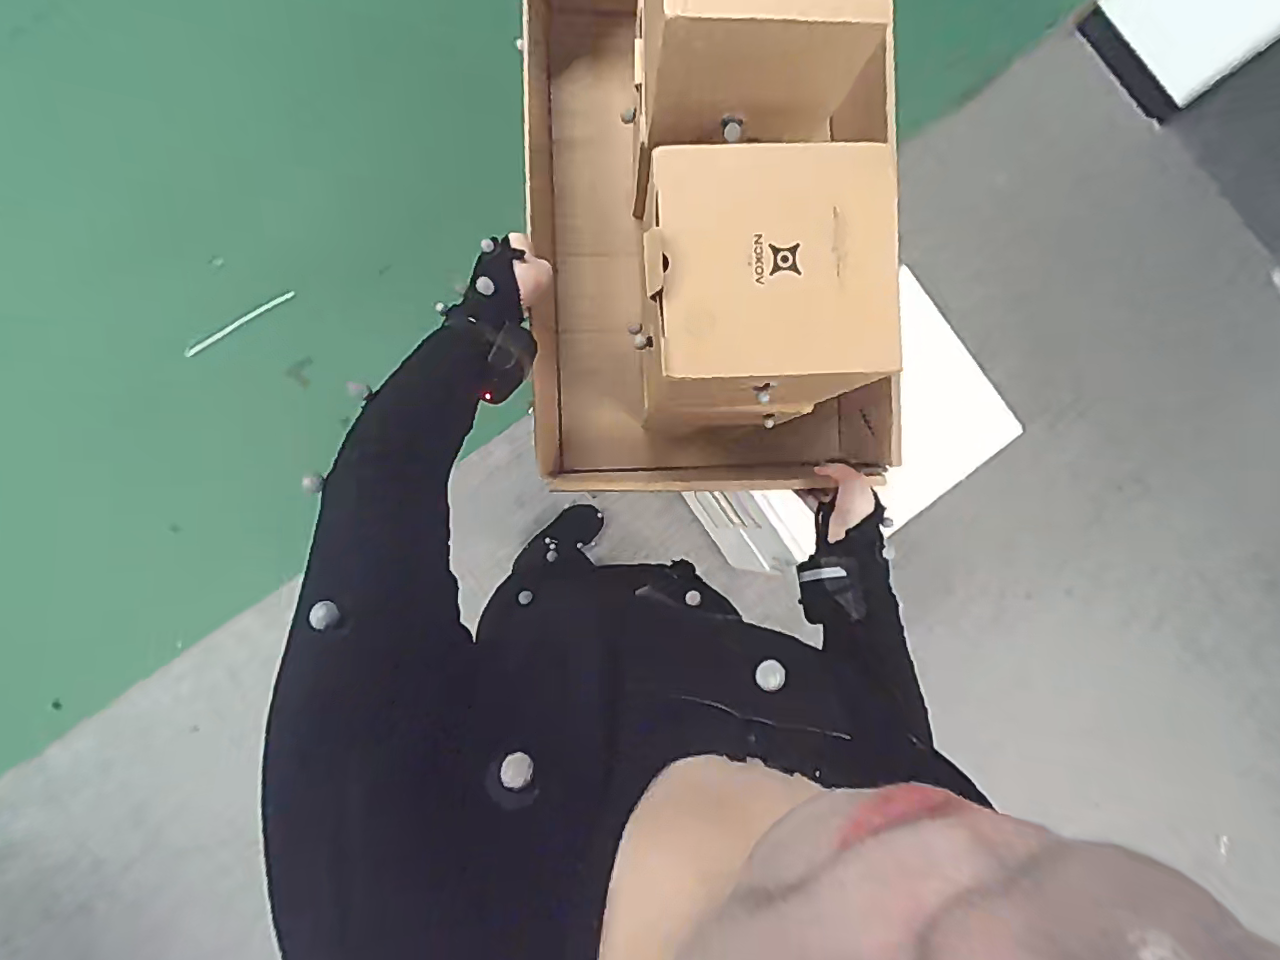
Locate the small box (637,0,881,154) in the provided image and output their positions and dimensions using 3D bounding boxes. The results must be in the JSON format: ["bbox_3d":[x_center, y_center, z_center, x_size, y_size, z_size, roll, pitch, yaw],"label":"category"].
[{"bbox_3d":[0.085,-0.409,0.461,0.168,0.176,0.179,-2,92,-3],"label":"small box"}]

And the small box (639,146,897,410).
[{"bbox_3d":[0.091,-0.155,0.466,0.179,0.176,0.168,-4,91,-4],"label":"small box"}]
